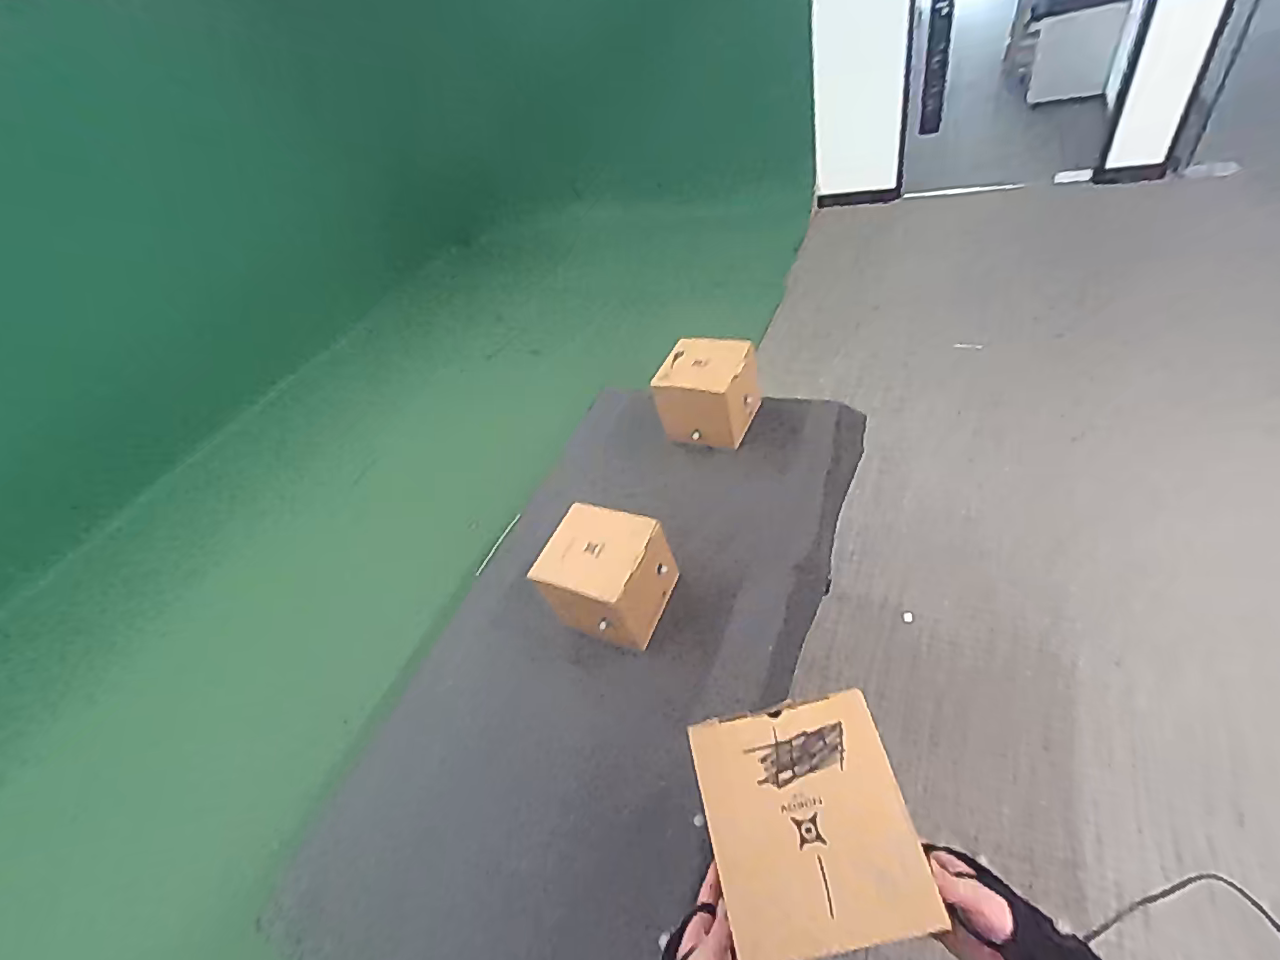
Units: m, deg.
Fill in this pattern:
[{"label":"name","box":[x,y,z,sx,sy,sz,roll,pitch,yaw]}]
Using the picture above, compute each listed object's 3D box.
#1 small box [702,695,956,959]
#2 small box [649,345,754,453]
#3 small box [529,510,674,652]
[{"label":"small box","box":[0.160,0.329,0.528,0.168,0.176,0.179,-14,60,2]},{"label":"small box","box":[0.147,-0.180,1.215,0.179,0.176,0.168,12,54,28]},{"label":"small box","box":[-0.057,0.180,0.954,0.179,0.176,0.168,9,51,28]}]
